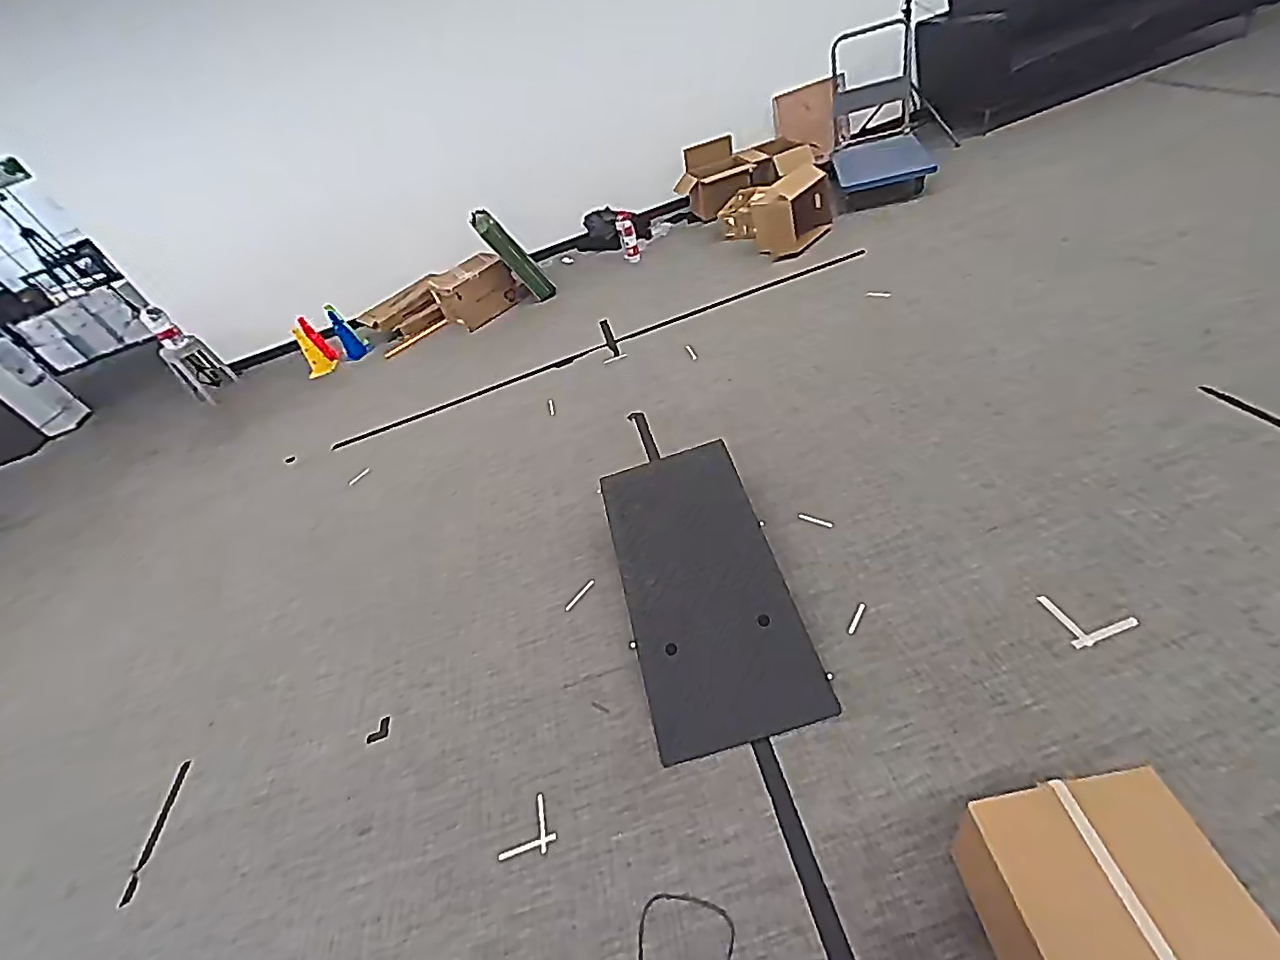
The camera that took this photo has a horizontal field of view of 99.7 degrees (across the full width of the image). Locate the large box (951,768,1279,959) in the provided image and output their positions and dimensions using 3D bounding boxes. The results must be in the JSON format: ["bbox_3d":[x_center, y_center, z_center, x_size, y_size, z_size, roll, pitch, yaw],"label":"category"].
[{"bbox_3d":[0.786,0.765,0.891,0.320,0.320,0.408,-16,42,6],"label":"large box"}]

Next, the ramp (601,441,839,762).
[{"bbox_3d":[0.191,0.303,1.731,0.509,0.206,0.991,-19,41,1],"label":"ramp"}]
